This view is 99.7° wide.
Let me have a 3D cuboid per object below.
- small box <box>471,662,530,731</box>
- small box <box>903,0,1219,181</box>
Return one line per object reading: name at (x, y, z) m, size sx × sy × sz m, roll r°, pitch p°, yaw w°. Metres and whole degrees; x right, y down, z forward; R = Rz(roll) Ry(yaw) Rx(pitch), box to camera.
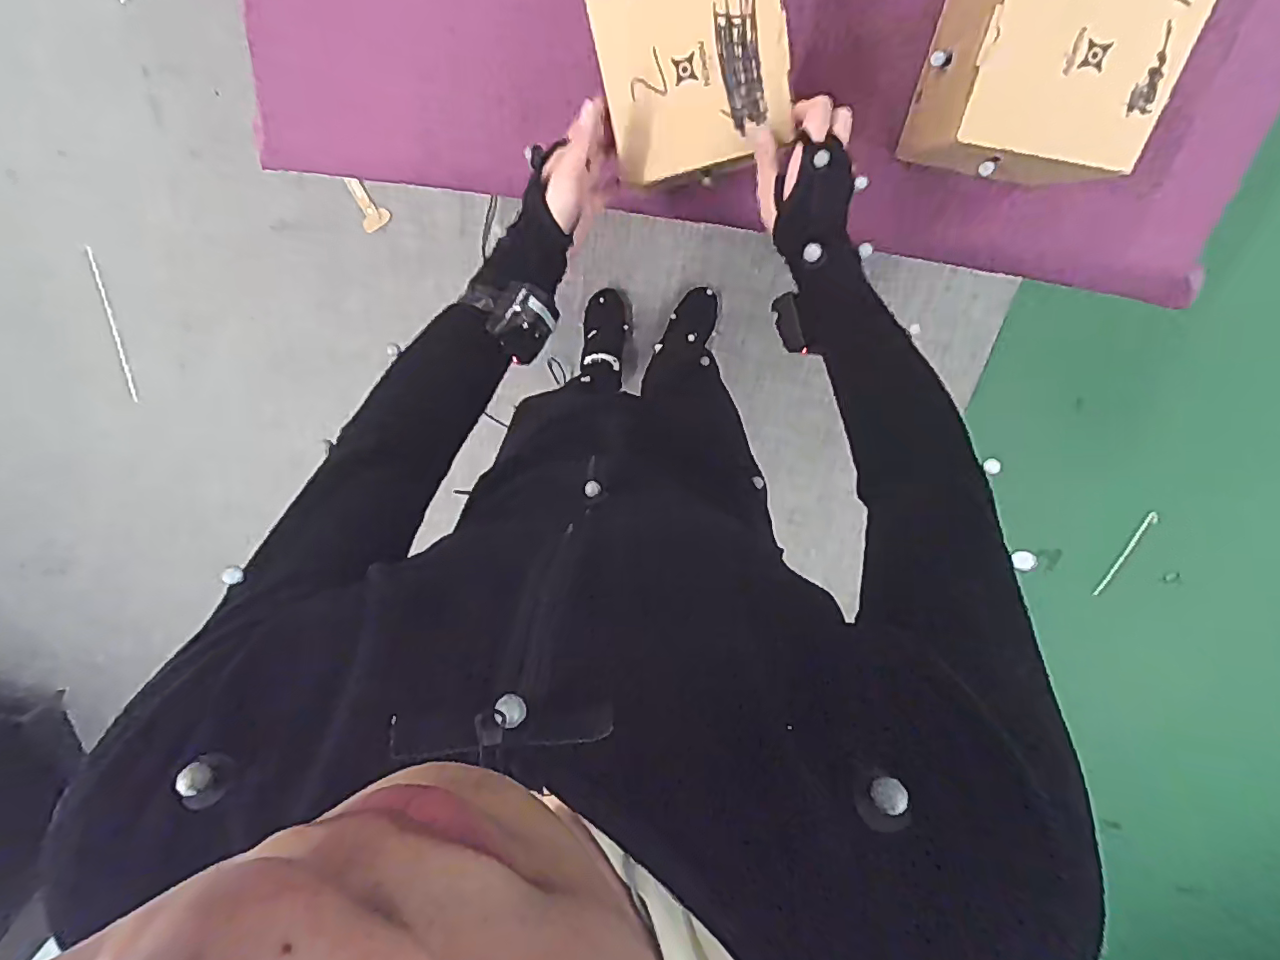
small box at (-0.529, 0.822, 2.065) m, size 0.179 × 0.176 × 0.168 m, roll 13°, pitch 117°, yaw 1°
small box at (0.396, -0.408, 0.540) m, size 0.179 × 0.176 × 0.168 m, roll 11°, pitch 116°, yaw 1°
